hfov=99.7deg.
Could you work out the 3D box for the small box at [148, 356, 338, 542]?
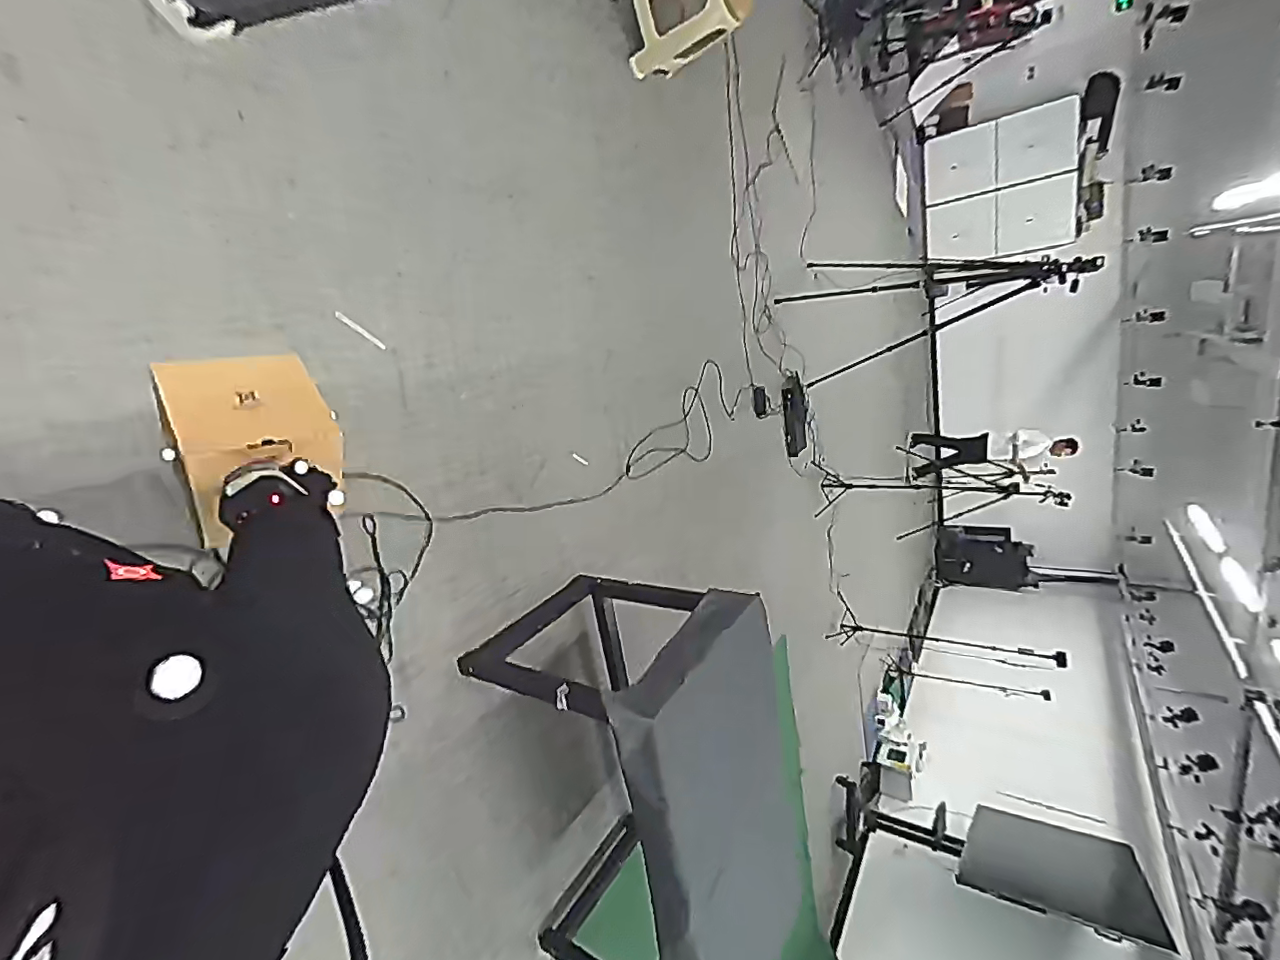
[{"bbox_3d":[-0.534,-0.046,0.737,0.168,0.179,0.176,-17,147,-42],"label":"small box"}]
